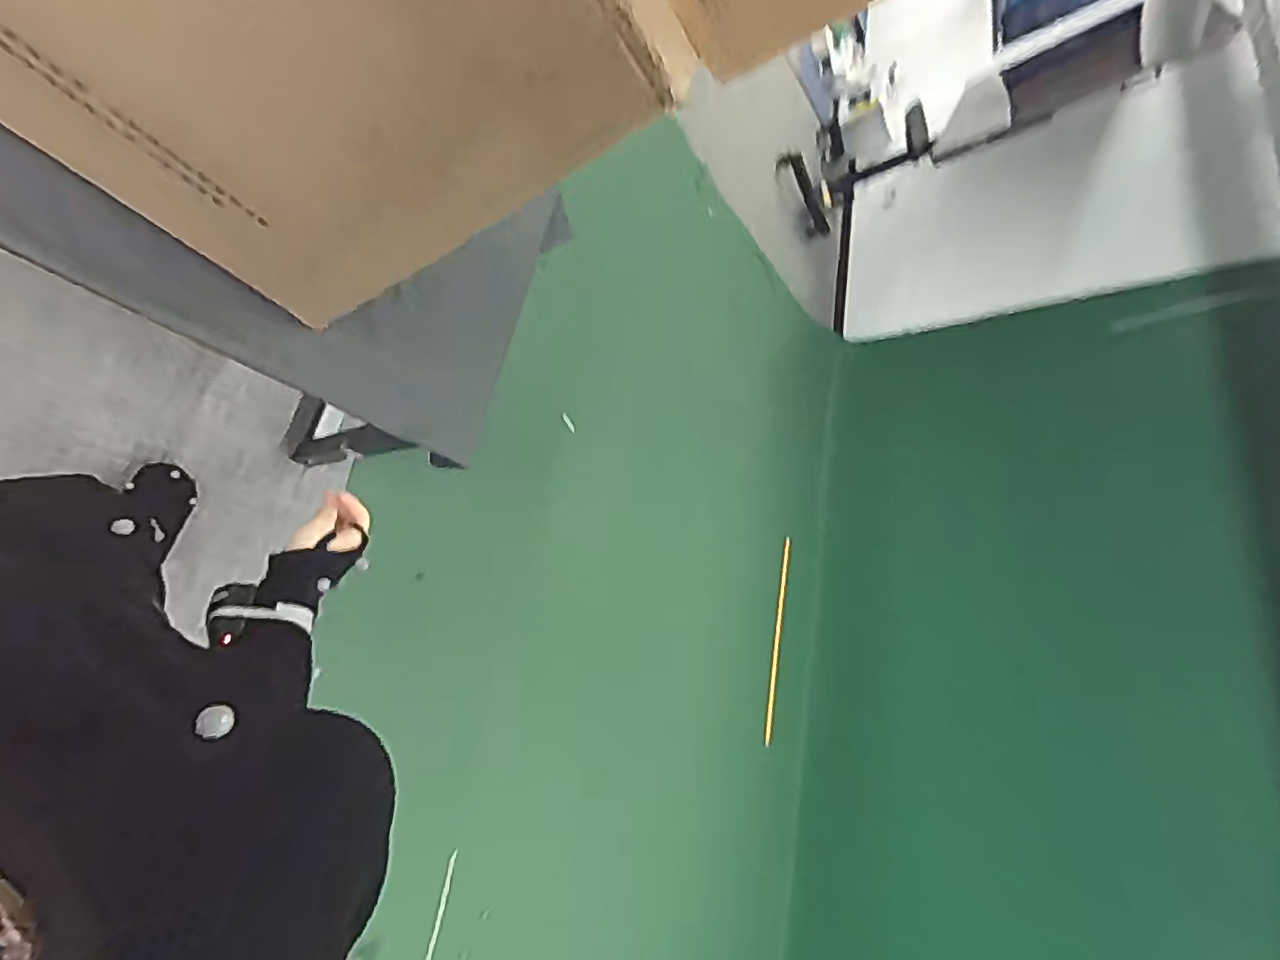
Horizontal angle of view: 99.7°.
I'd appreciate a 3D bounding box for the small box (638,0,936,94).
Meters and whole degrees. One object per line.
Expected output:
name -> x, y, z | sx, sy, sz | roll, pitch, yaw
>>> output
small box -> 0.078, -0.376, 0.302 | 0.168, 0.176, 0.179 | 28, 70, -51
